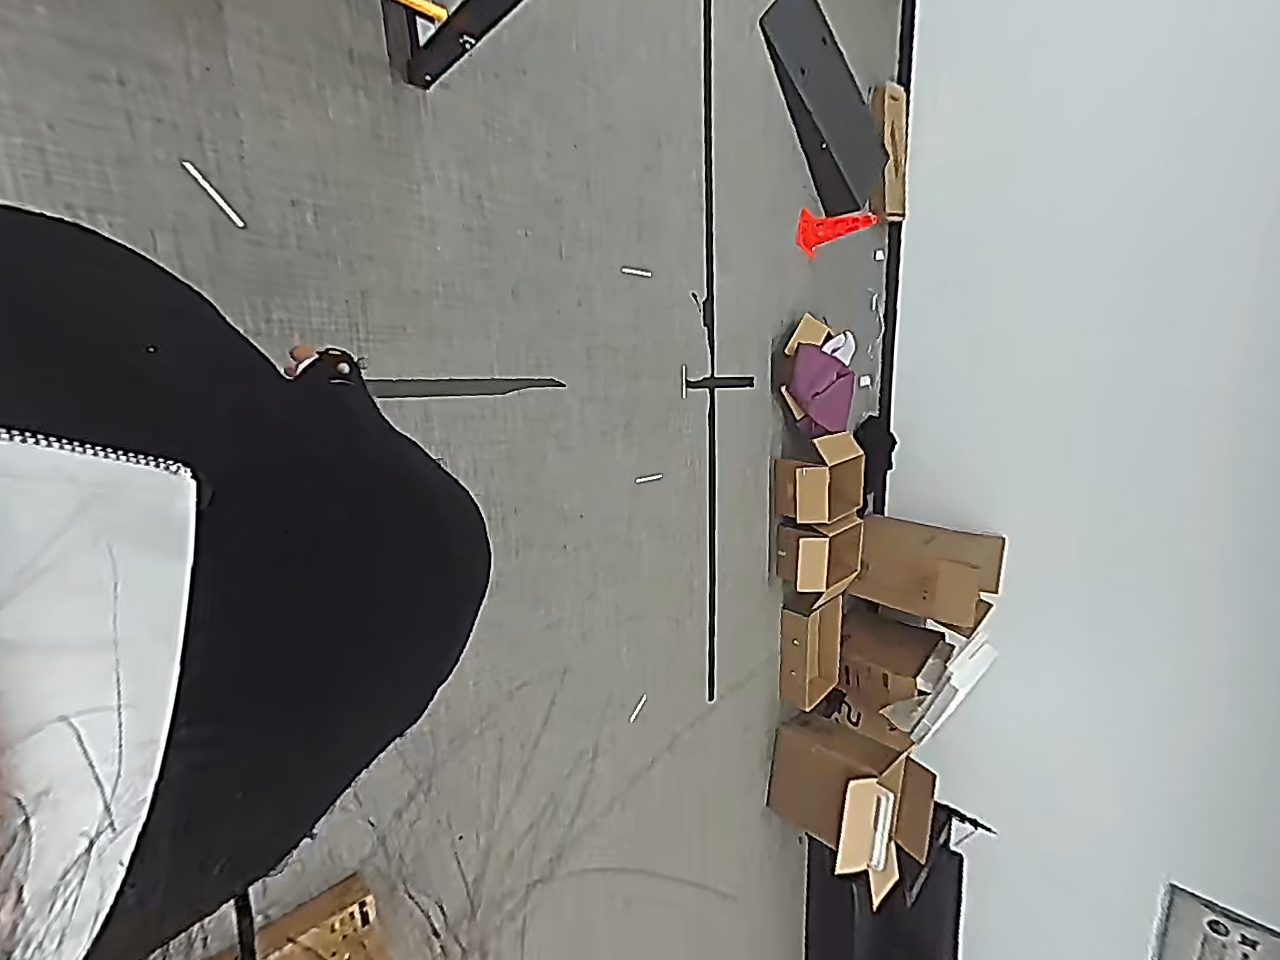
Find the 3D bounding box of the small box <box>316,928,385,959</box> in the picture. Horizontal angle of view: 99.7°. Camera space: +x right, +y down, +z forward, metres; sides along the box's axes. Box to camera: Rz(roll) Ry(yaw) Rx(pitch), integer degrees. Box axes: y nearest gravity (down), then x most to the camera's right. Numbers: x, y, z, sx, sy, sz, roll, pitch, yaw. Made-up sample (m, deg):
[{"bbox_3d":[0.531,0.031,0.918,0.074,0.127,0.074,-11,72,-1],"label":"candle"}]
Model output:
[{"bbox_3d":[-0.743,1.327,1.391,0.168,0.176,0.179,-13,106,-43],"label":"small box"}]
